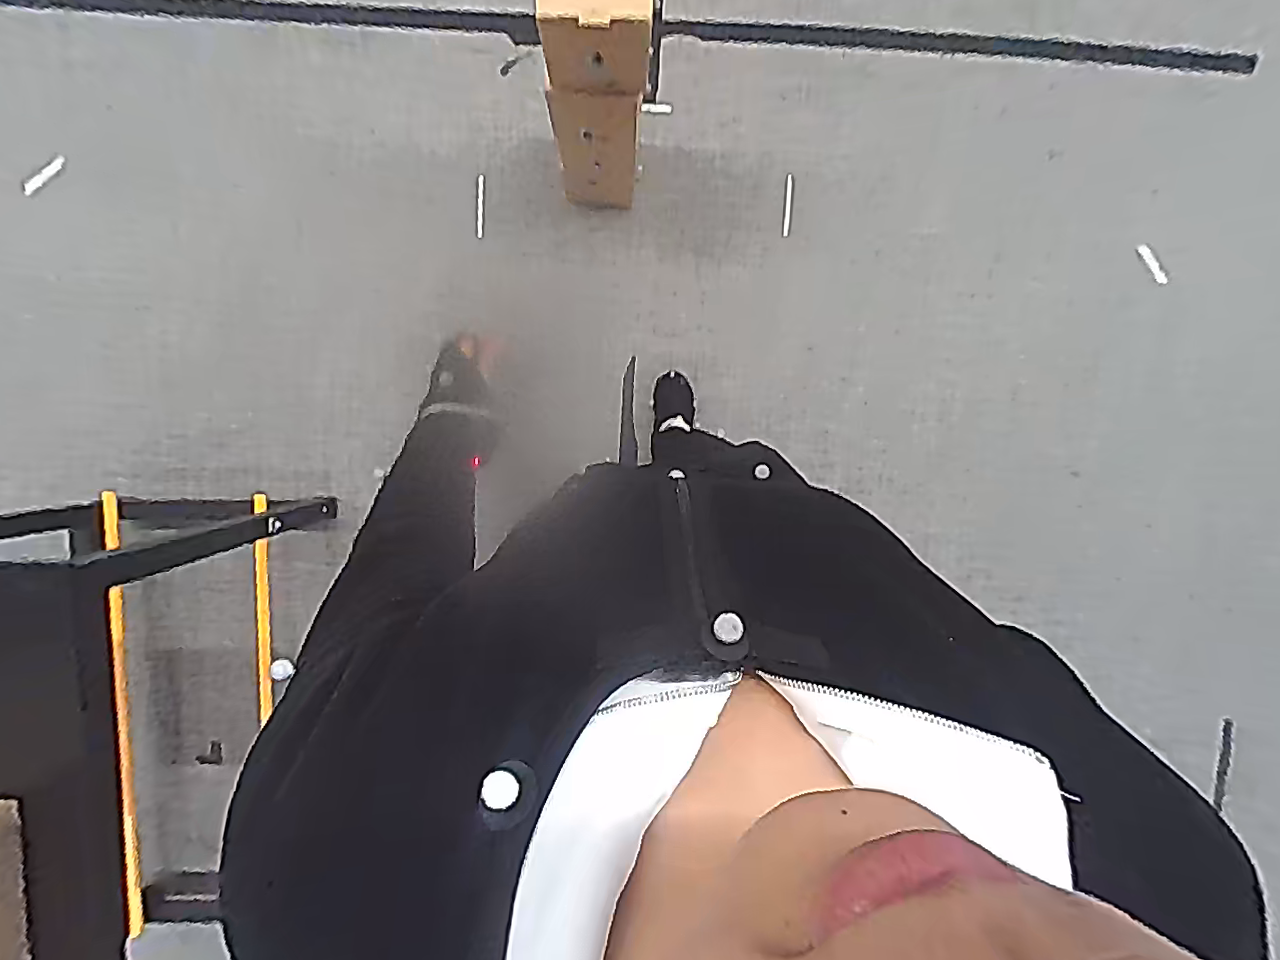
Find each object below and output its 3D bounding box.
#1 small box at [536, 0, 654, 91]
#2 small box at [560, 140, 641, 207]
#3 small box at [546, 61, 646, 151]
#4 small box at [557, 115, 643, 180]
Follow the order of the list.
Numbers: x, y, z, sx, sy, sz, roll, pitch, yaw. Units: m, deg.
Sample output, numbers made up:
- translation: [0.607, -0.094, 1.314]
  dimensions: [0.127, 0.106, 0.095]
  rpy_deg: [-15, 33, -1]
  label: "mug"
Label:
- translation: [-0.062, -0.734, 0.826]
  dimensions: [0.168, 0.176, 0.179]
  rpy_deg: [2, 96, -2]
  label: "small box"
- translation: [-0.092, -0.786, 1.314]
  dimensions: [0.179, 0.176, 0.168]
  rpy_deg: [6, 96, -3]
  label: "small box"
- translation: [-0.073, -0.742, 0.990]
  dimensions: [0.168, 0.176, 0.179]
  rpy_deg: [6, 97, -2]
  label: "small box"
- translation: [-0.079, -0.773, 1.150]
  dimensions: [0.168, 0.176, 0.179]
  rpy_deg: [6, 96, -2]
  label: "small box"
